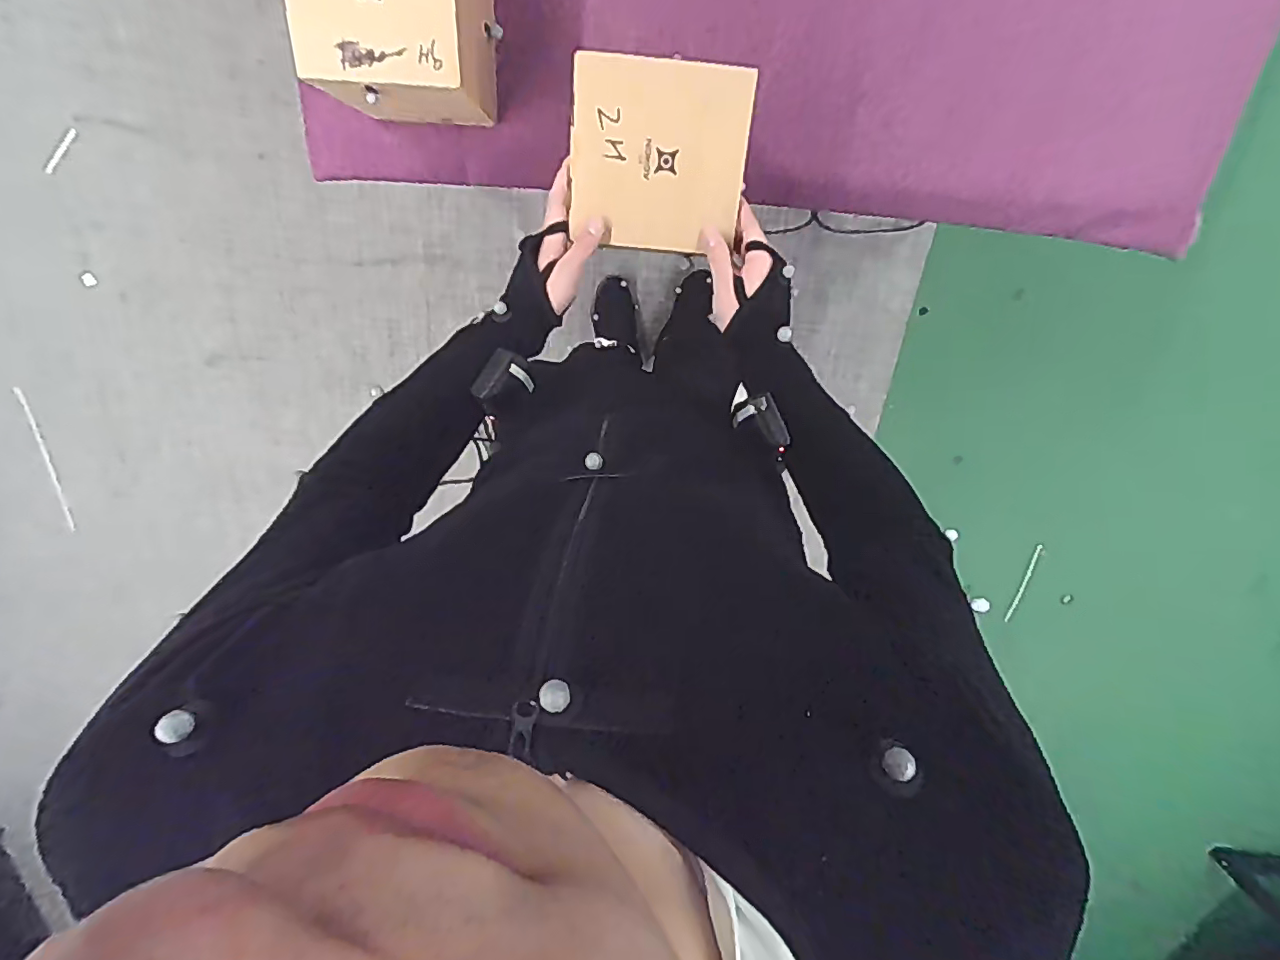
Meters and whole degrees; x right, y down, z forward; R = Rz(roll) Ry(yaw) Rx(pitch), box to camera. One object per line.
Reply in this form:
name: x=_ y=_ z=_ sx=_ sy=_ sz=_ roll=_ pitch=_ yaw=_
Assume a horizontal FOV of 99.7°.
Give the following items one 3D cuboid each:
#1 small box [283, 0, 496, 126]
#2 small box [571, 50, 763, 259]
small box: x=-0.256 y=-0.506 z=0.580 sx=0.168 sy=0.176 sz=0.179 roll=3 pitch=112 yaw=-2
small box: x=0.023 y=-0.345 z=0.604 sx=0.179 sy=0.176 sz=0.168 roll=5 pitch=112 yaw=-1
